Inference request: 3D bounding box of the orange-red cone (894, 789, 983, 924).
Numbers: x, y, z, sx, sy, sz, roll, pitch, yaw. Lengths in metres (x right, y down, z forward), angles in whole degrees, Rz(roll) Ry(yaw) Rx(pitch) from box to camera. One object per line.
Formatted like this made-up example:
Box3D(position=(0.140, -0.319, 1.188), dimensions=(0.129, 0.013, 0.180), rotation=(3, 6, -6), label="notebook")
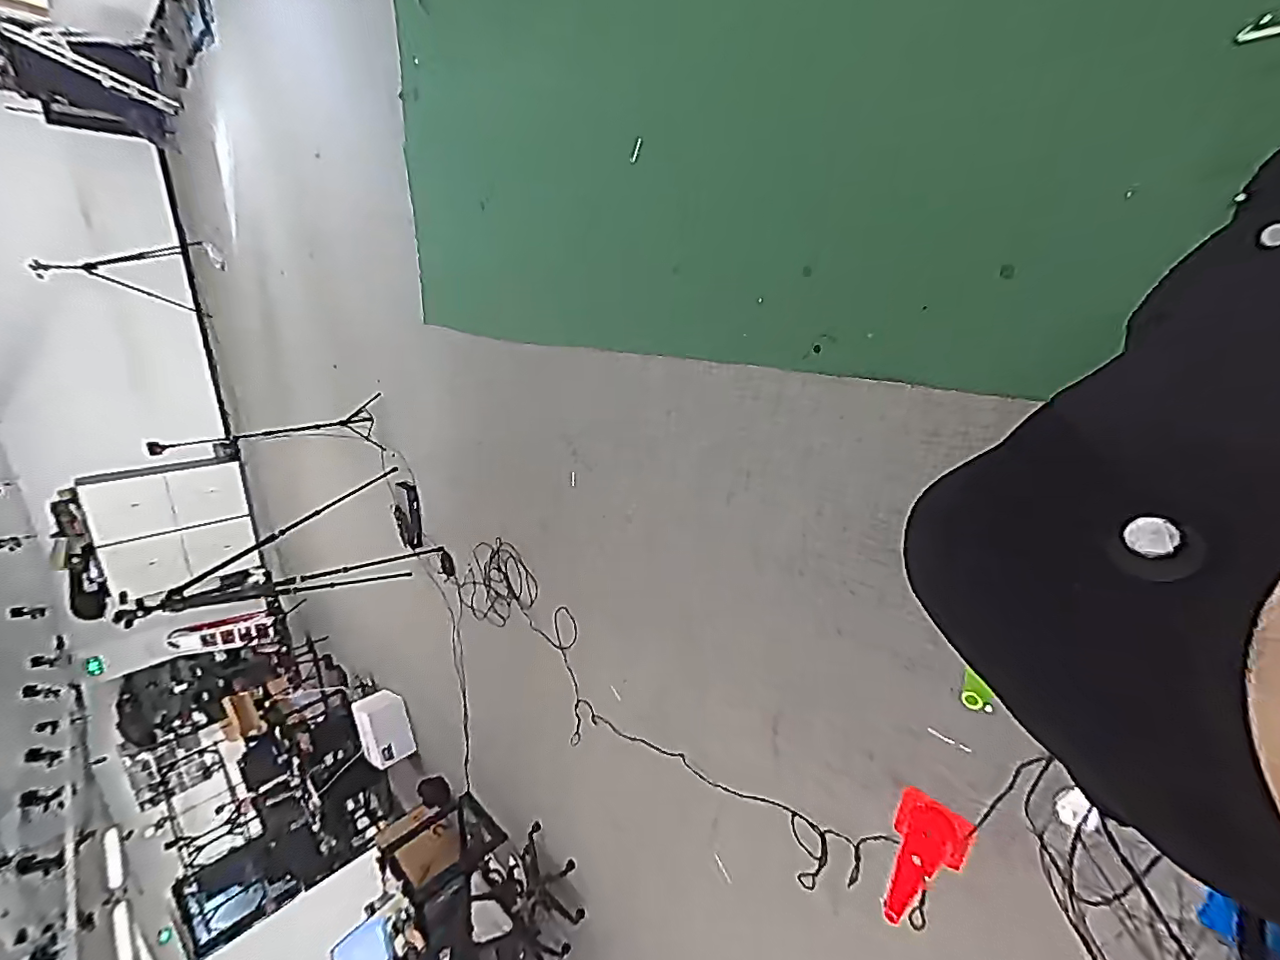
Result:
Box3D(position=(0.798, 1.099, 1.528), dimensions=(0.198, 0.360, 0.199), rotation=(23, 117, 38), label="orange-red cone")
